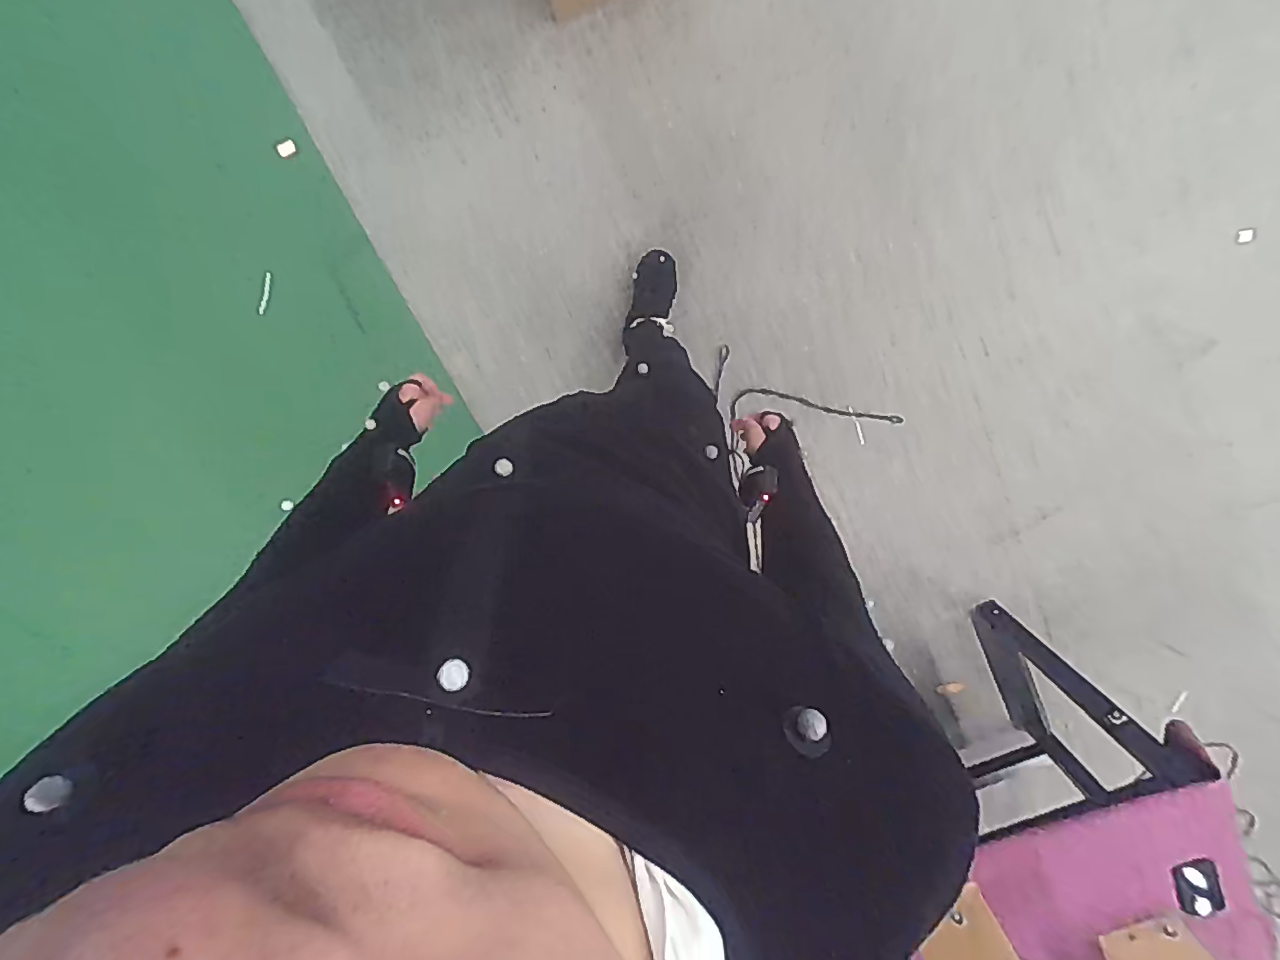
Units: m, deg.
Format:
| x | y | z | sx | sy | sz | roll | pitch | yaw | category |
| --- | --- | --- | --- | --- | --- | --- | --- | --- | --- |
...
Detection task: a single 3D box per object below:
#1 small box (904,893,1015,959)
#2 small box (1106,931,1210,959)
| x | y | z | sx | sy | sz | roll | pitch | yaw | category |
| --- | --- | --- | --- | --- | --- | --- | --- | --- | --- |
| 0.663 | 0.982 | 1.080 | 0.168 | 0.176 | 0.179 | -24 | 106 | 8 | small box |
| 1.105 | 1.064 | 1.098 | 0.168 | 0.176 | 0.179 | -27 | 106 | 9 | small box |
